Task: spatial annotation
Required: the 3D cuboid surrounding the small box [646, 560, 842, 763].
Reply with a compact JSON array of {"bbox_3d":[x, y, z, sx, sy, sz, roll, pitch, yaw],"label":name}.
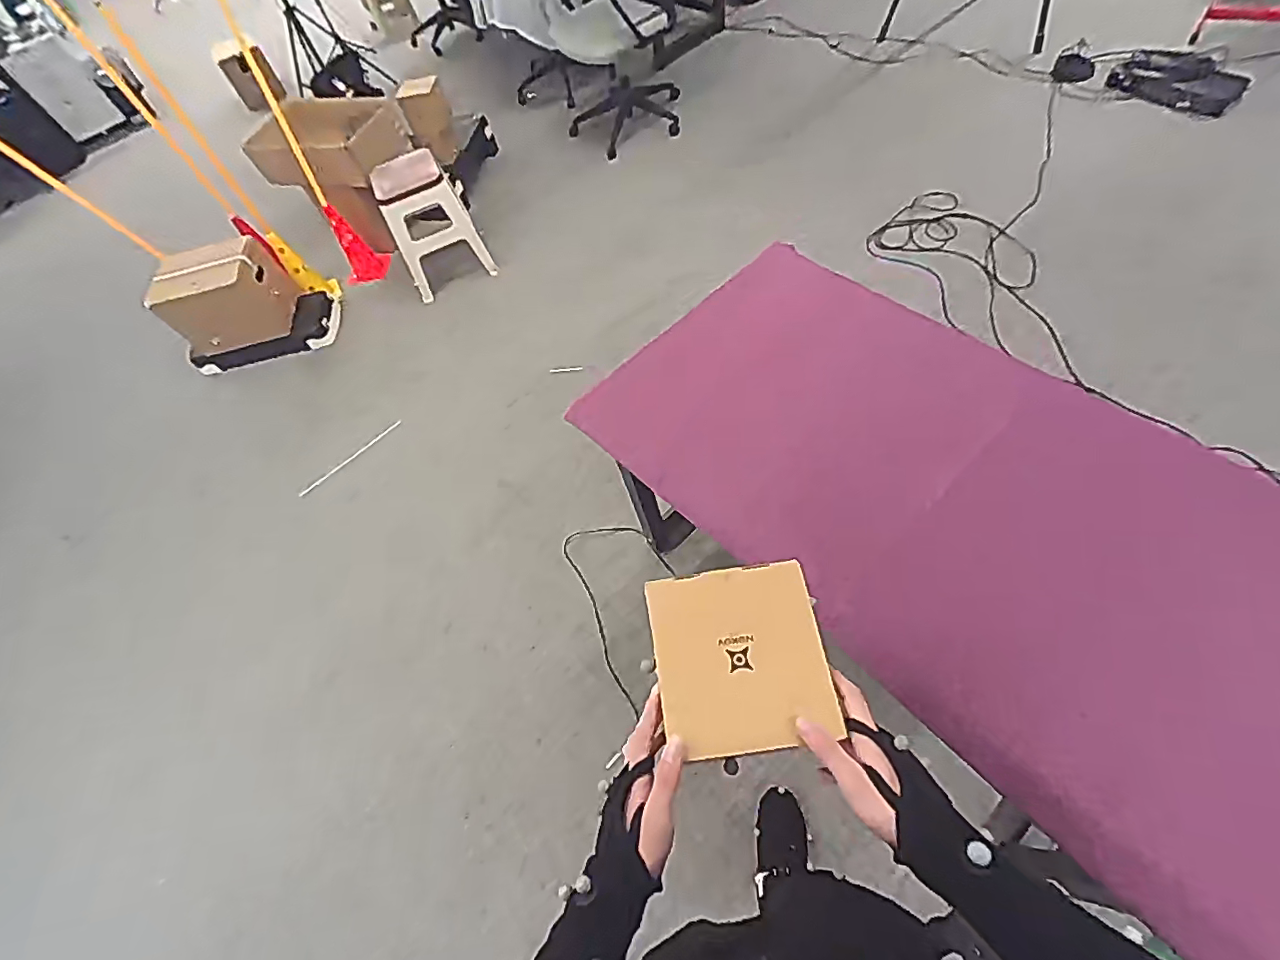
[{"bbox_3d":[0.103,0.208,0.598,0.168,0.176,0.179,-8,60,1],"label":"small box"}]
